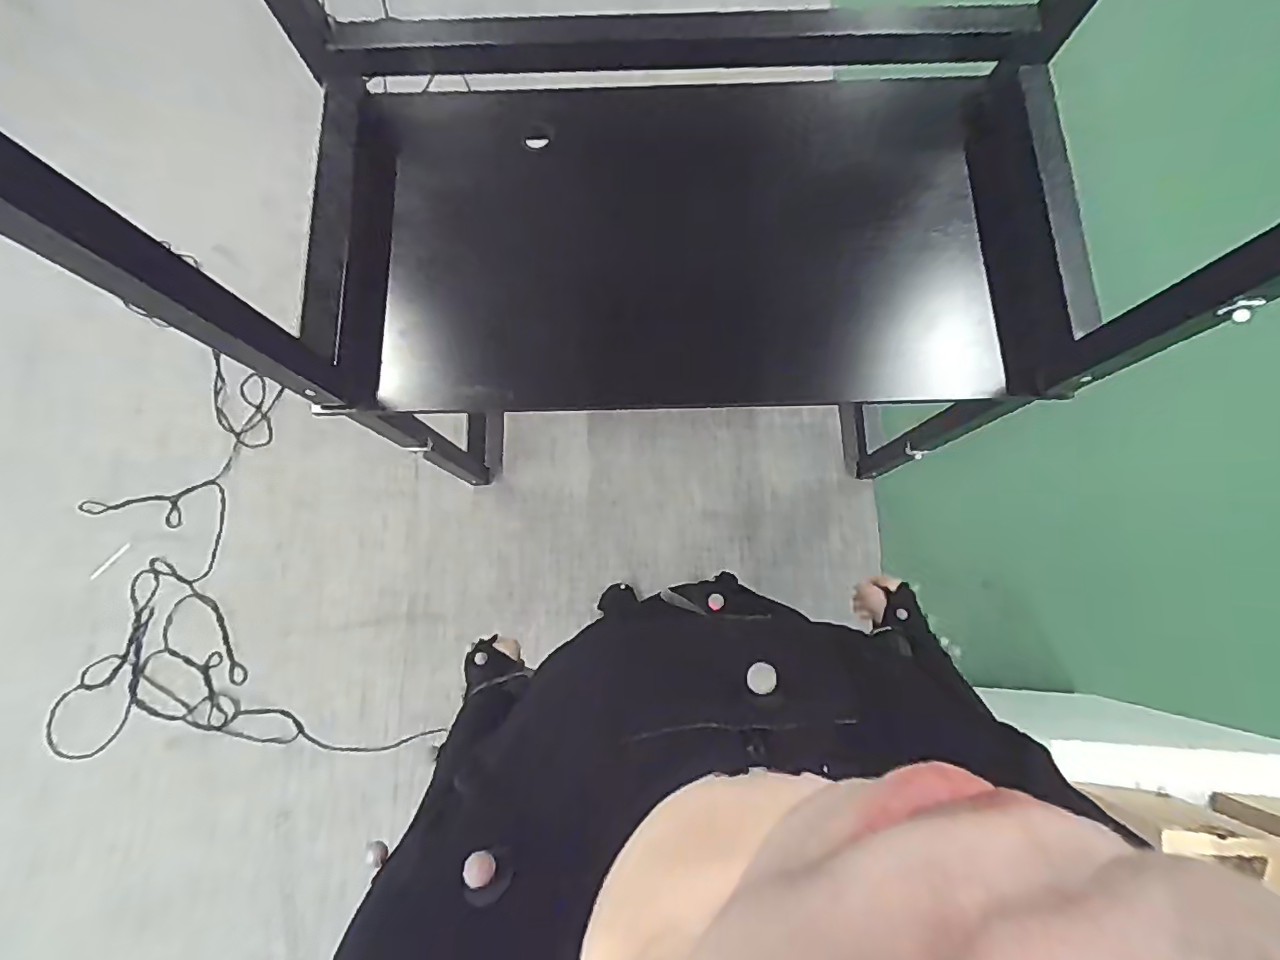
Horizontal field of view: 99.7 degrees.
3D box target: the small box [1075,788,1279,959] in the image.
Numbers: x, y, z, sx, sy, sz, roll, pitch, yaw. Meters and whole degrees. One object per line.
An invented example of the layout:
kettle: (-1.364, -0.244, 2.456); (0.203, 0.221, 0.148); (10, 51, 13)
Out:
small box: (0.746, 0.553, 0.748); (0.168, 0.176, 0.179); (6, 80, 2)
